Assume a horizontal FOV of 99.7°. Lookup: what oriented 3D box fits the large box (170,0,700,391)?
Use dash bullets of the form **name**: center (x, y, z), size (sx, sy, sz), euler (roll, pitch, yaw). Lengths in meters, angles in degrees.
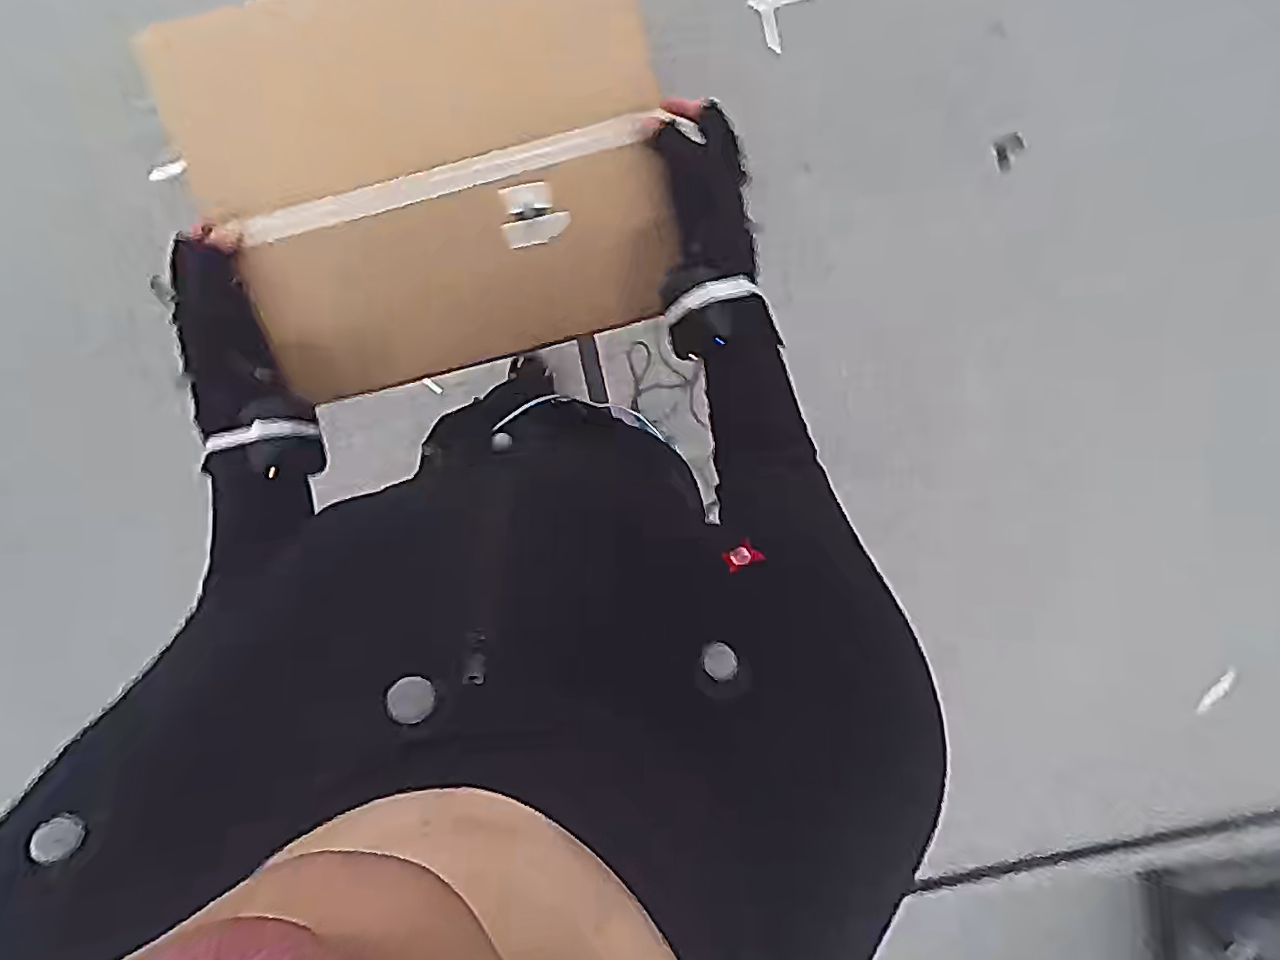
- **large box**: center (-0.180, -0.317, 0.633), size (0.408, 0.320, 0.320), euler (-14, 107, -1)
